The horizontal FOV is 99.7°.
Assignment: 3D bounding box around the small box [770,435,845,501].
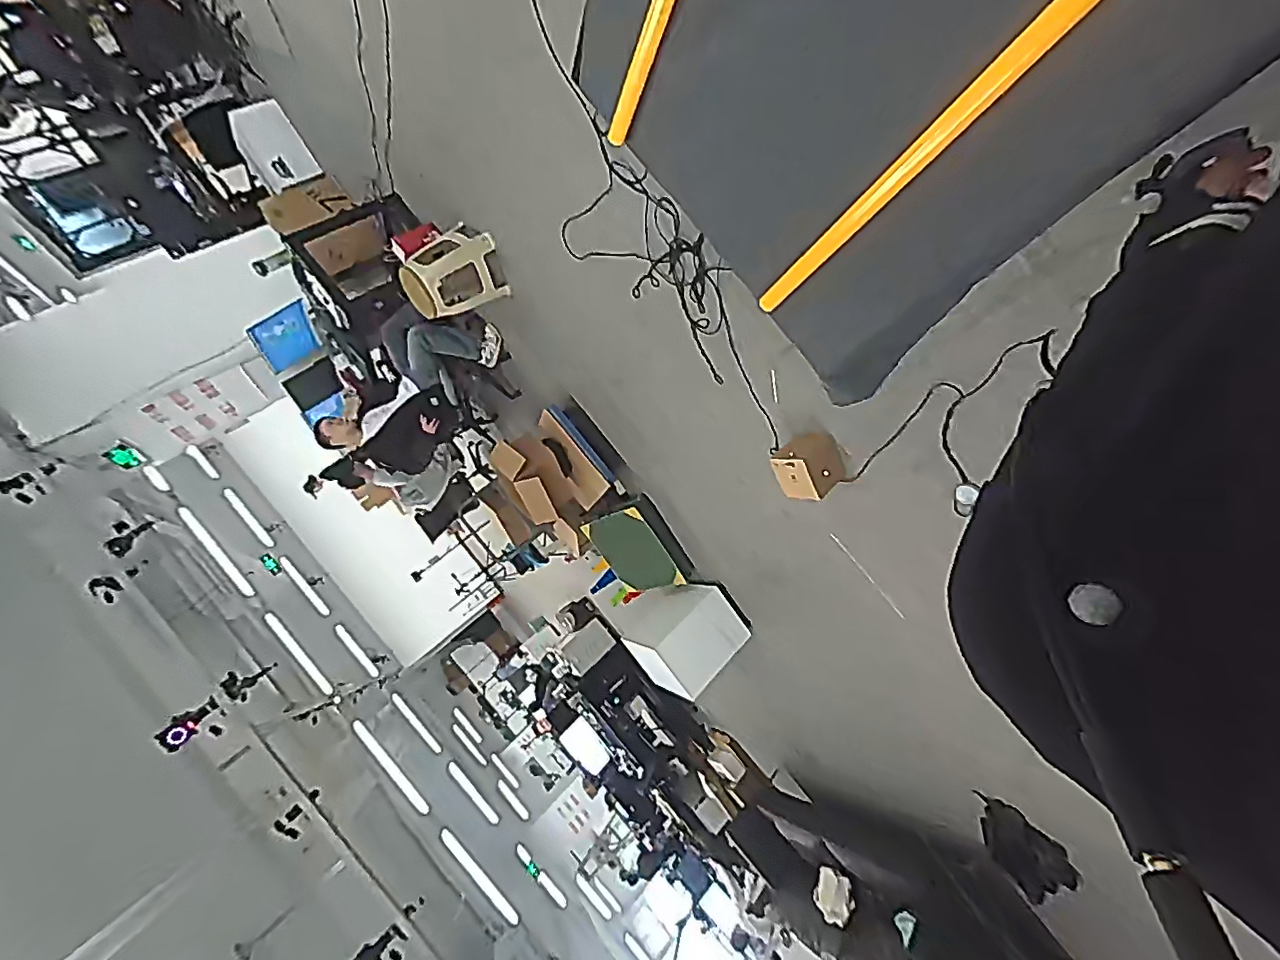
[{"bbox_3d":[0.615,-0.046,1.972,0.168,0.176,0.179,5,129,59],"label":"small box"}]
